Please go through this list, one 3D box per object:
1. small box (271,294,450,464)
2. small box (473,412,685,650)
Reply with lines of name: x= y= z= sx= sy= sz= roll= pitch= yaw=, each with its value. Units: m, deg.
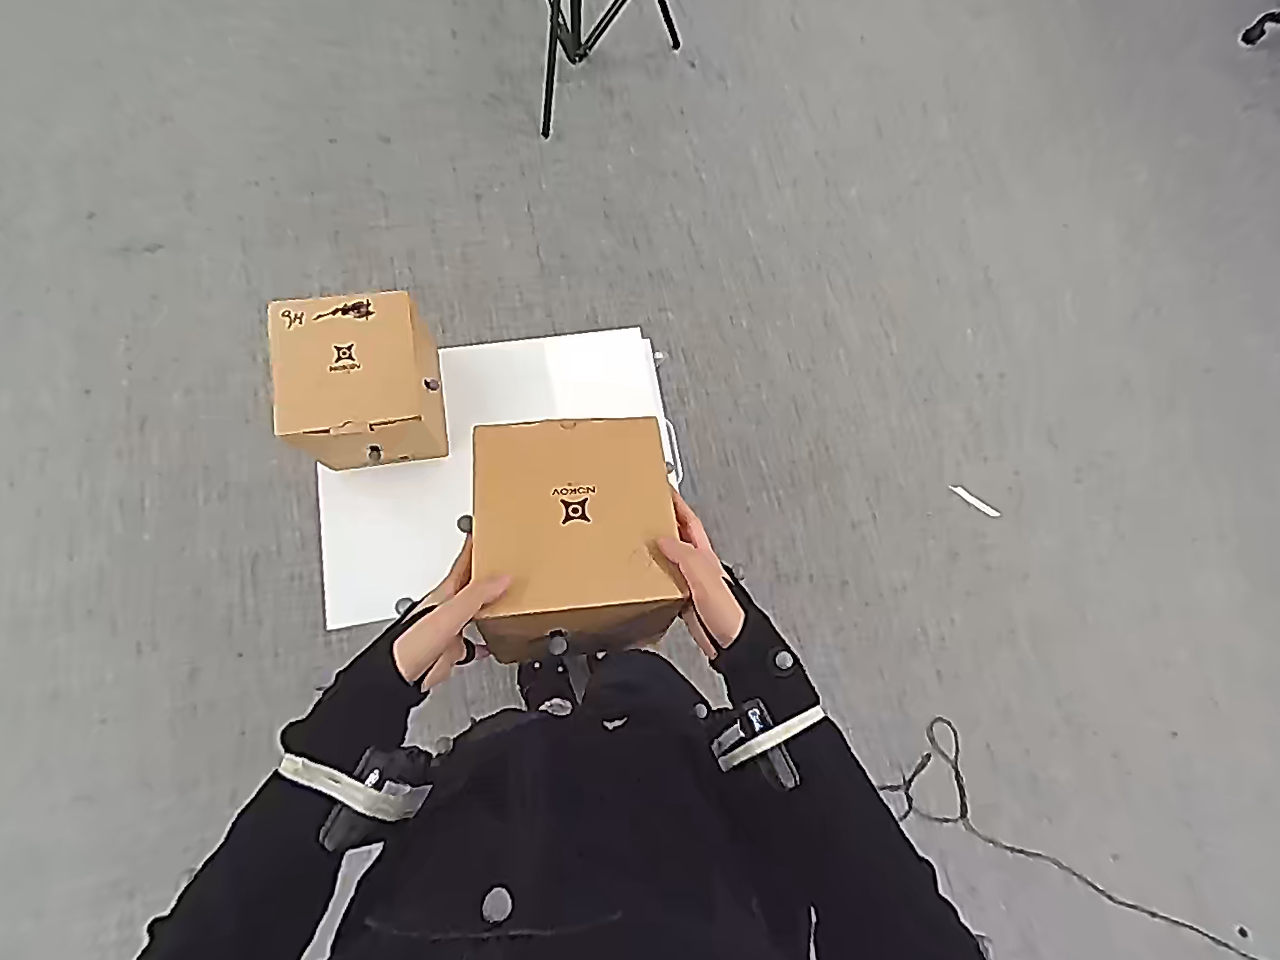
small box: x=-0.364 y=-0.125 z=0.733 sx=0.168 sy=0.176 sz=0.179 roll=-9 pitch=80 yaw=-10
small box: x=-0.061 y=0.057 z=0.519 sx=0.168 sy=0.176 sz=0.179 roll=-4 pitch=61 yaw=-9
